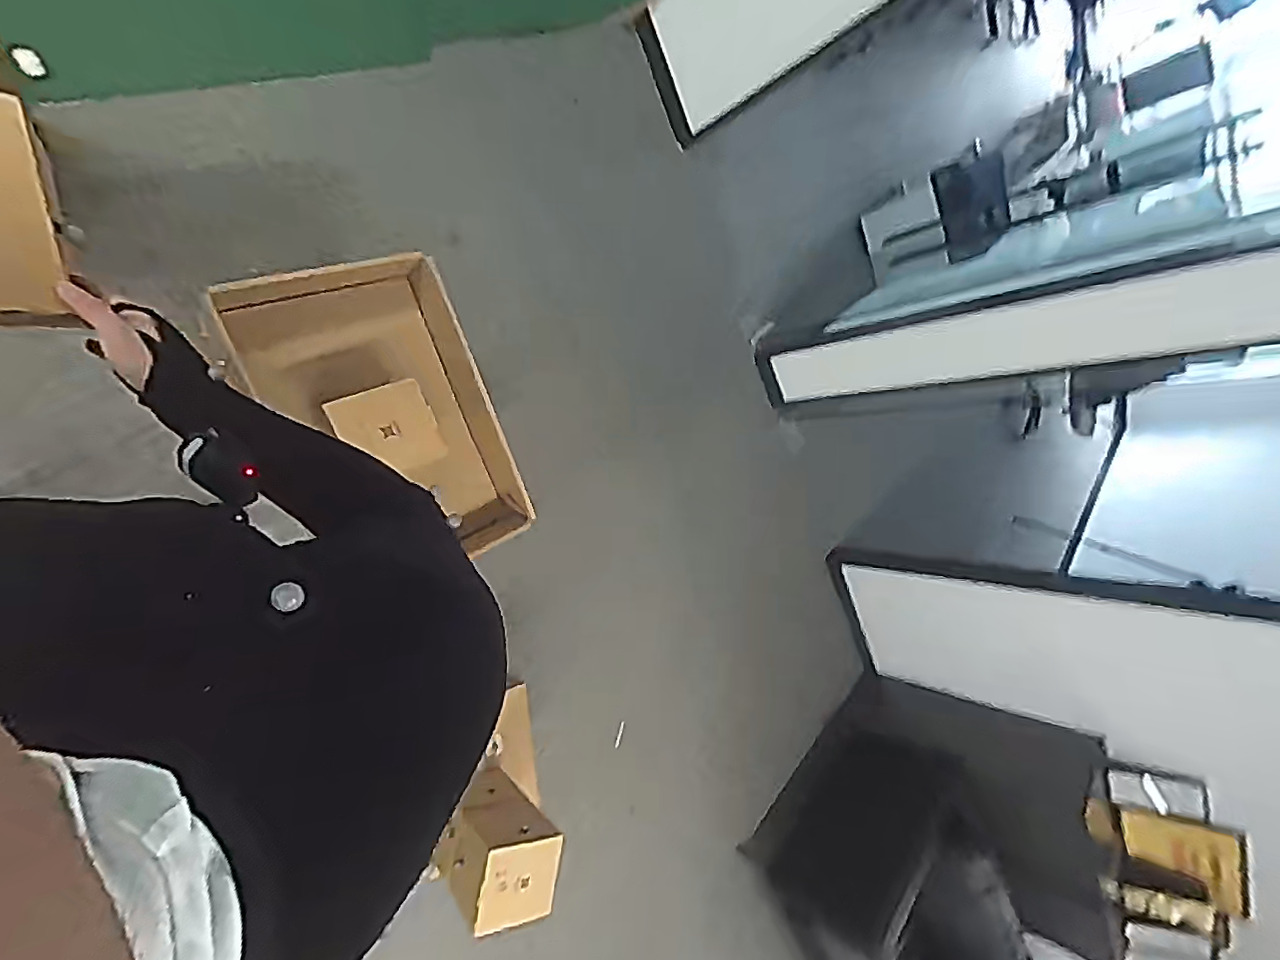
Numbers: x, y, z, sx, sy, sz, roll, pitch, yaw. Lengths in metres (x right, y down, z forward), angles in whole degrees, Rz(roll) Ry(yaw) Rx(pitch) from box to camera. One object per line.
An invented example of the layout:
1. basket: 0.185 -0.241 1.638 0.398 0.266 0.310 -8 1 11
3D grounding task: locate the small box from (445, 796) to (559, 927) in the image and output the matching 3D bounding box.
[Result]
1. small box: -0.307 0.829 1.199 0.179 0.176 0.168 15 81 -37

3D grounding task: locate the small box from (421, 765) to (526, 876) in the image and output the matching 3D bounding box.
1. small box: -0.411 0.823 1.329 0.179 0.176 0.168 16 81 -38

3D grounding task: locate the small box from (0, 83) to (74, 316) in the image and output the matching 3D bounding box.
1. small box: -0.625 -0.237 0.463 0.168 0.176 0.179 -15 110 -41
